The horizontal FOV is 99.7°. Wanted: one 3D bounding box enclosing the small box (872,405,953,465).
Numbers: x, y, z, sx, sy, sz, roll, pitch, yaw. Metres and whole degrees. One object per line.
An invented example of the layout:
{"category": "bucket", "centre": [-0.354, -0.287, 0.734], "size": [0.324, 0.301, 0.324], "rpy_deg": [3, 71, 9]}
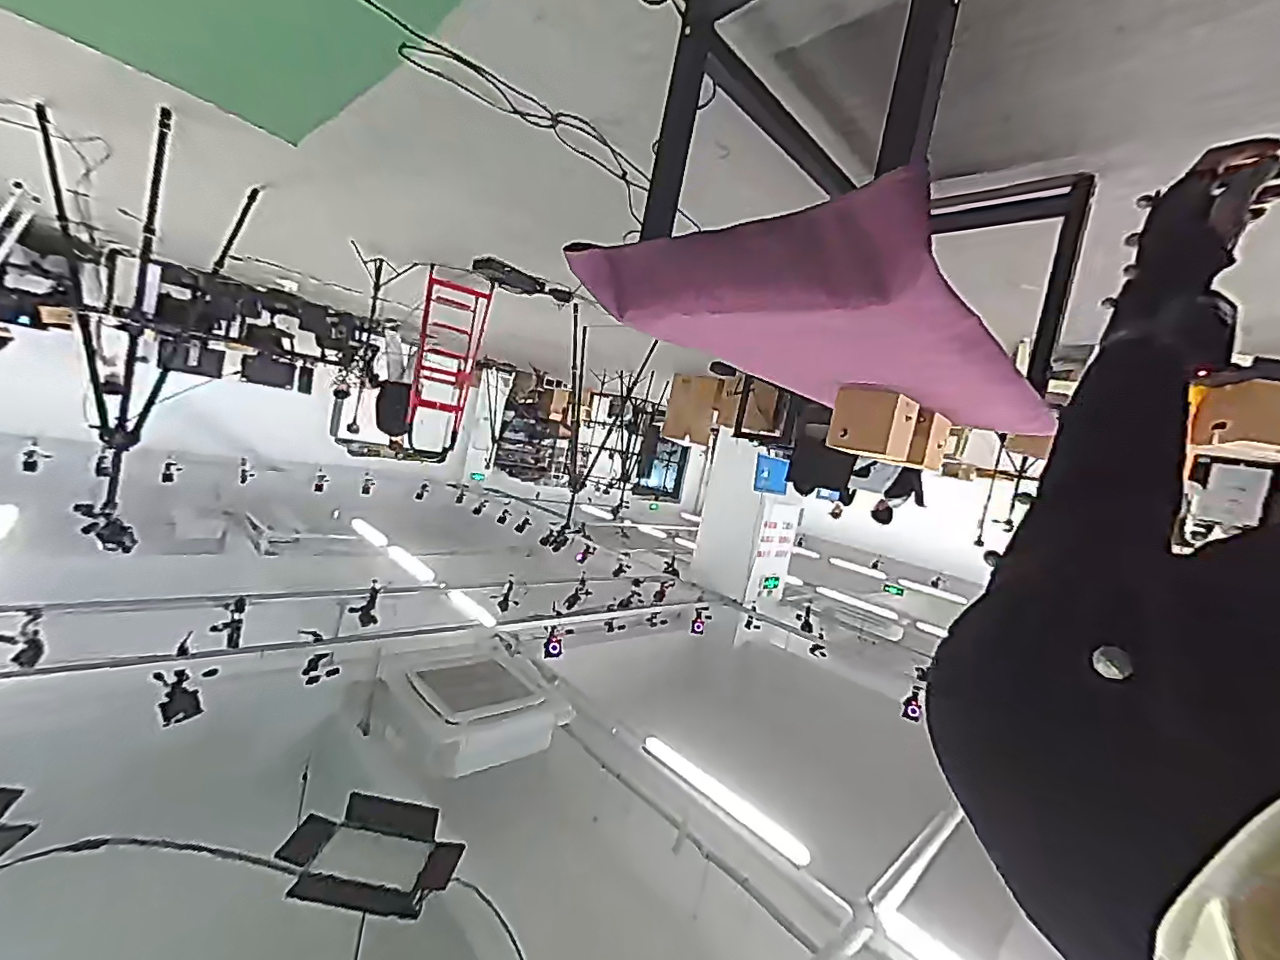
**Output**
{"category": "small box", "centre": [0.859, -0.148, 1.702], "size": [0.179, 0.176, 0.168], "rpy_deg": [6, -173, -45]}

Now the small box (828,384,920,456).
{"category": "small box", "centre": [0.667, -0.174, 1.536], "size": [0.179, 0.176, 0.168], "rpy_deg": [14, -175, 44]}
